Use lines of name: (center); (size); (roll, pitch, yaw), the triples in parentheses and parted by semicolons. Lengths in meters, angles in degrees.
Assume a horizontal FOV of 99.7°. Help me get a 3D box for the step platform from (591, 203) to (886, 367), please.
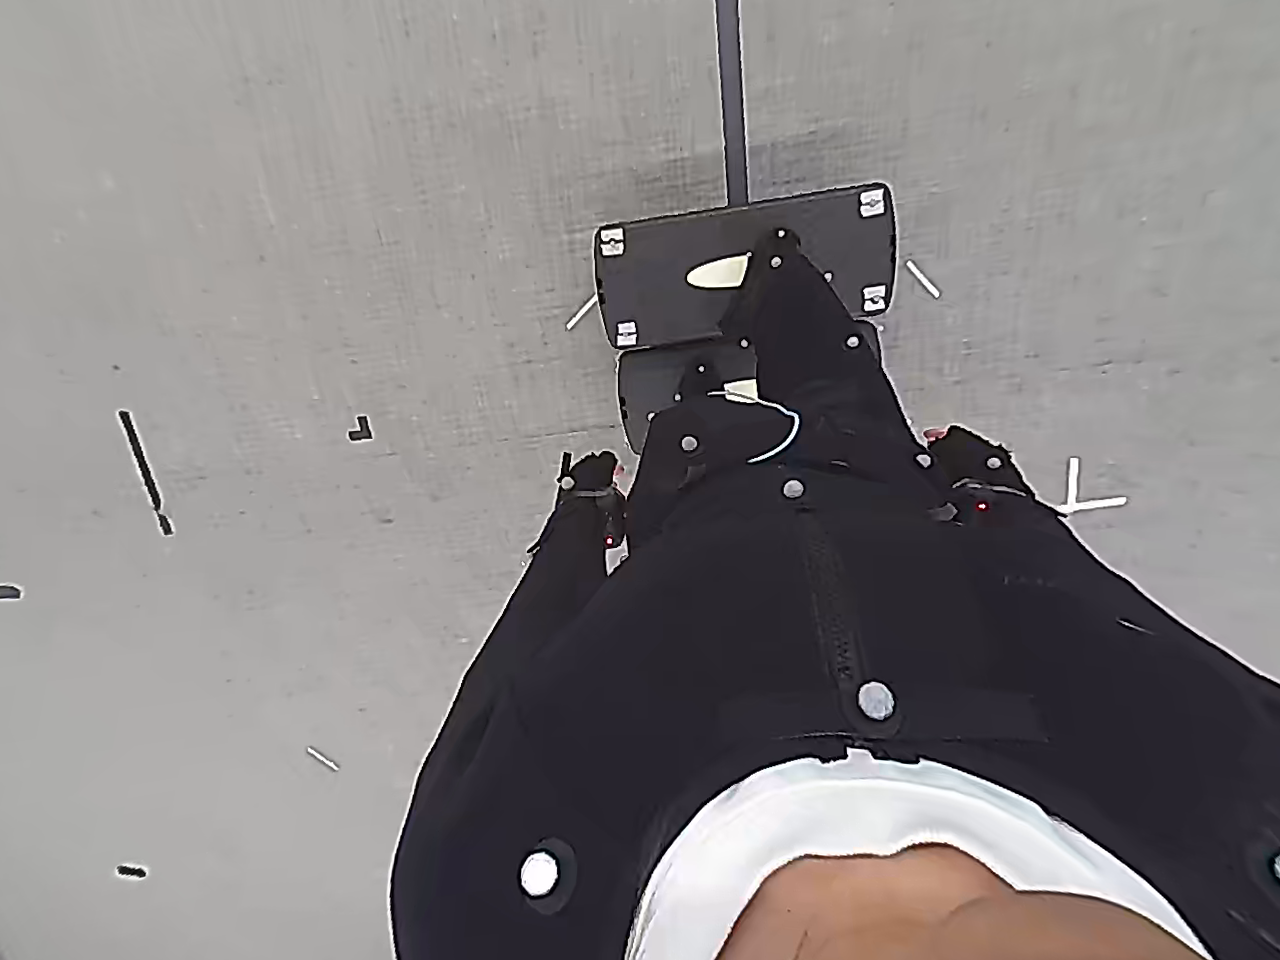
step platform: (0.225, -0.461, 1.312); (0.684, 0.204, 0.286); (-7, 107, 5)
